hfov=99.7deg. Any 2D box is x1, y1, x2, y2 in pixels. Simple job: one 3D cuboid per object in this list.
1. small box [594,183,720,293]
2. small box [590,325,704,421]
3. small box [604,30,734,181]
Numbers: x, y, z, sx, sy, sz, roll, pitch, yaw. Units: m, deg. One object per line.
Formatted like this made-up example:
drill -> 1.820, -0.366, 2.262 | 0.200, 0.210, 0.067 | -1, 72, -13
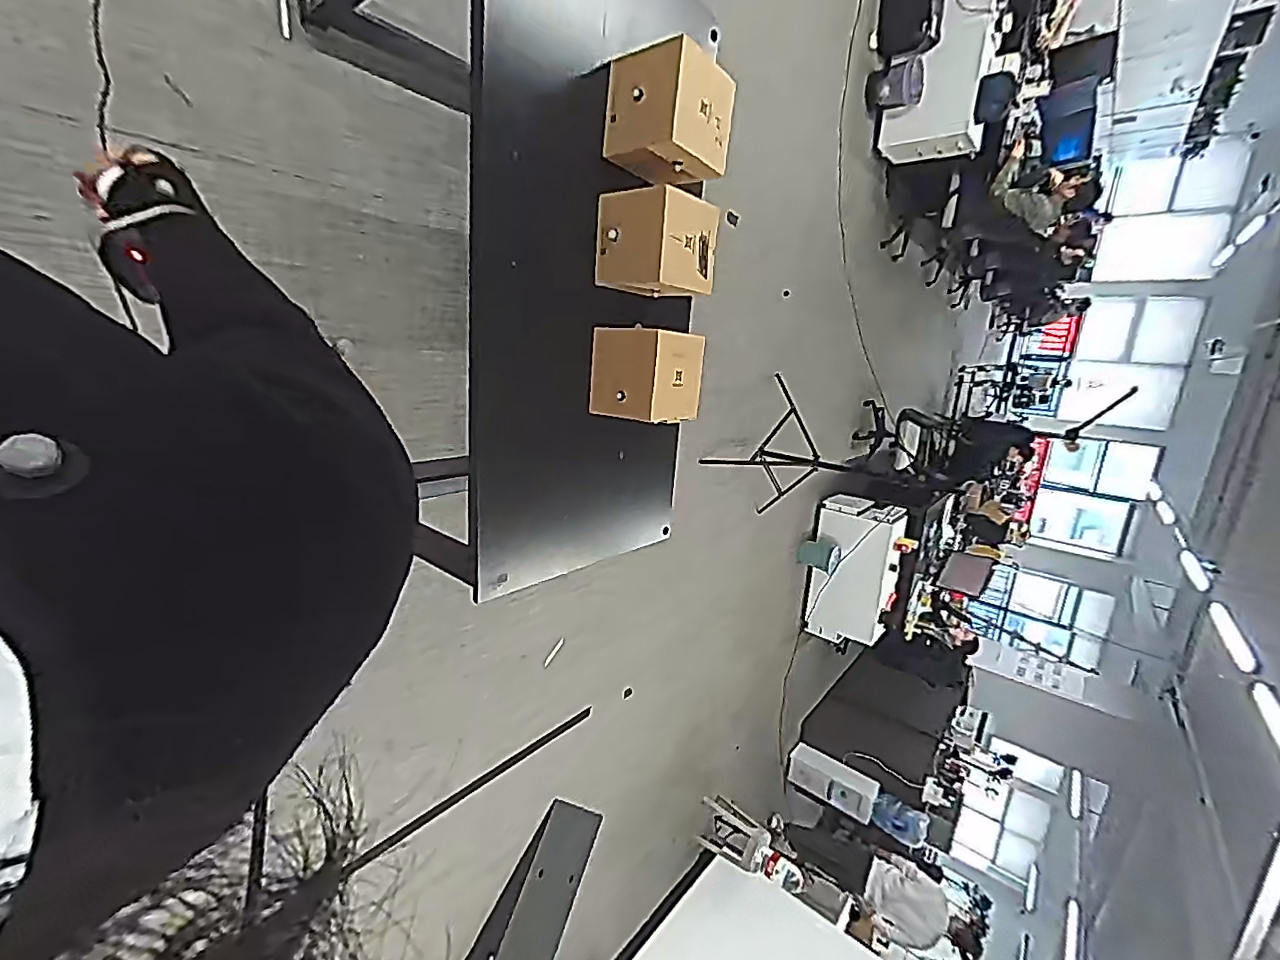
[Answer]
small box -> 0.032, -0.464, 1.059 | 0.179, 0.176, 0.168 | -12, 111, -48
small box -> 0.012, -0.223, 1.119 | 0.168, 0.176, 0.179 | -12, 110, -51
small box -> 0.052, -0.682, 1.014 | 0.179, 0.176, 0.168 | -7, 108, -51
